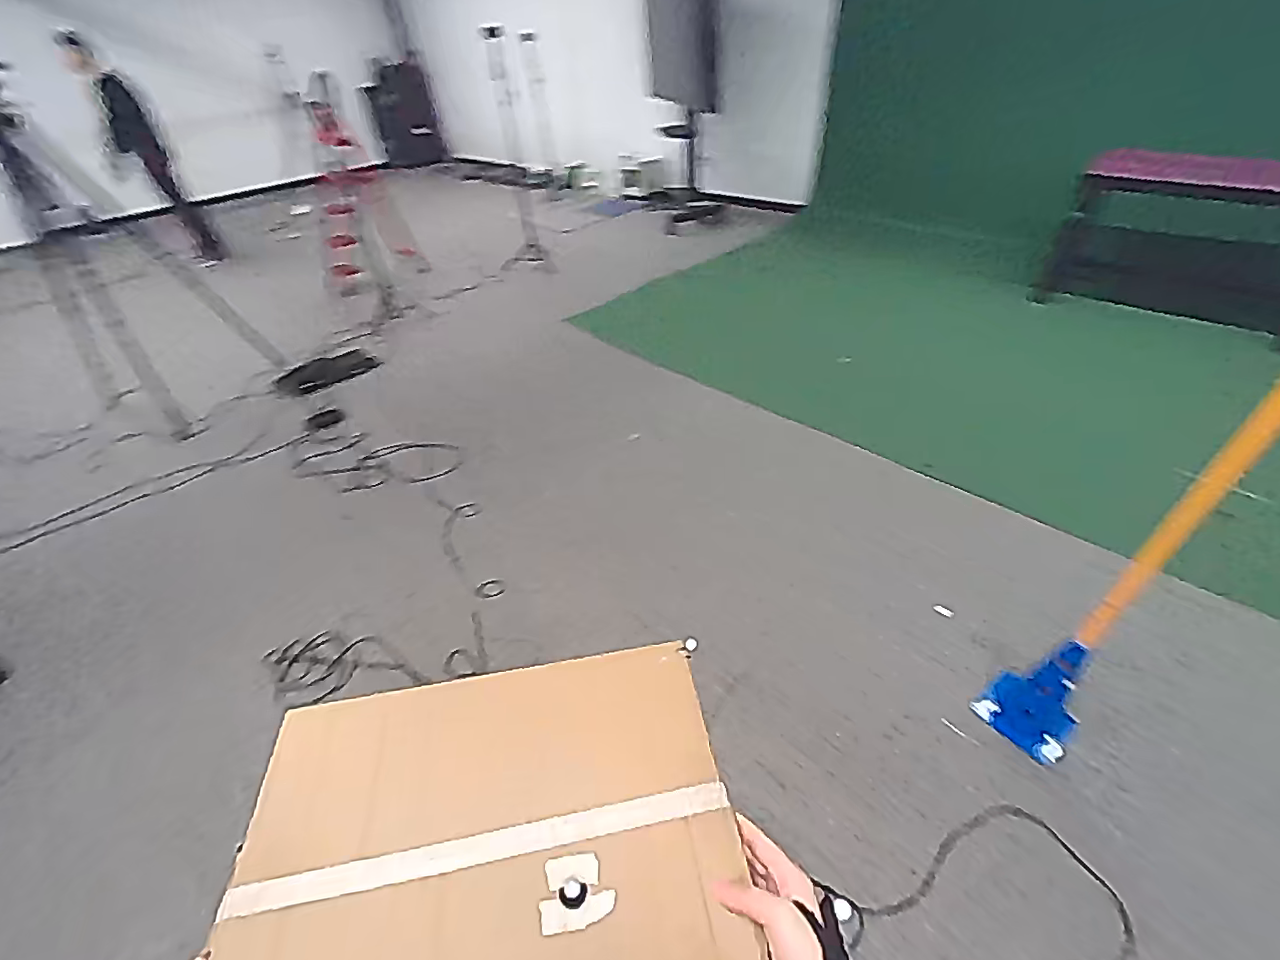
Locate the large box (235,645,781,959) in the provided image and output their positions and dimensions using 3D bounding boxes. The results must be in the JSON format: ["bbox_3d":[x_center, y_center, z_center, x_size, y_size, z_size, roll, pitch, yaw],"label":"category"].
[{"bbox_3d":[-0.112,0.415,0.555,0.408,0.320,0.320,-6,43,-7],"label":"large box"}]

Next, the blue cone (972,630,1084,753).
[{"bbox_3d":[1.046,0.521,1.408,0.192,0.380,0.193,-27,45,-26],"label":"blue cone"}]
